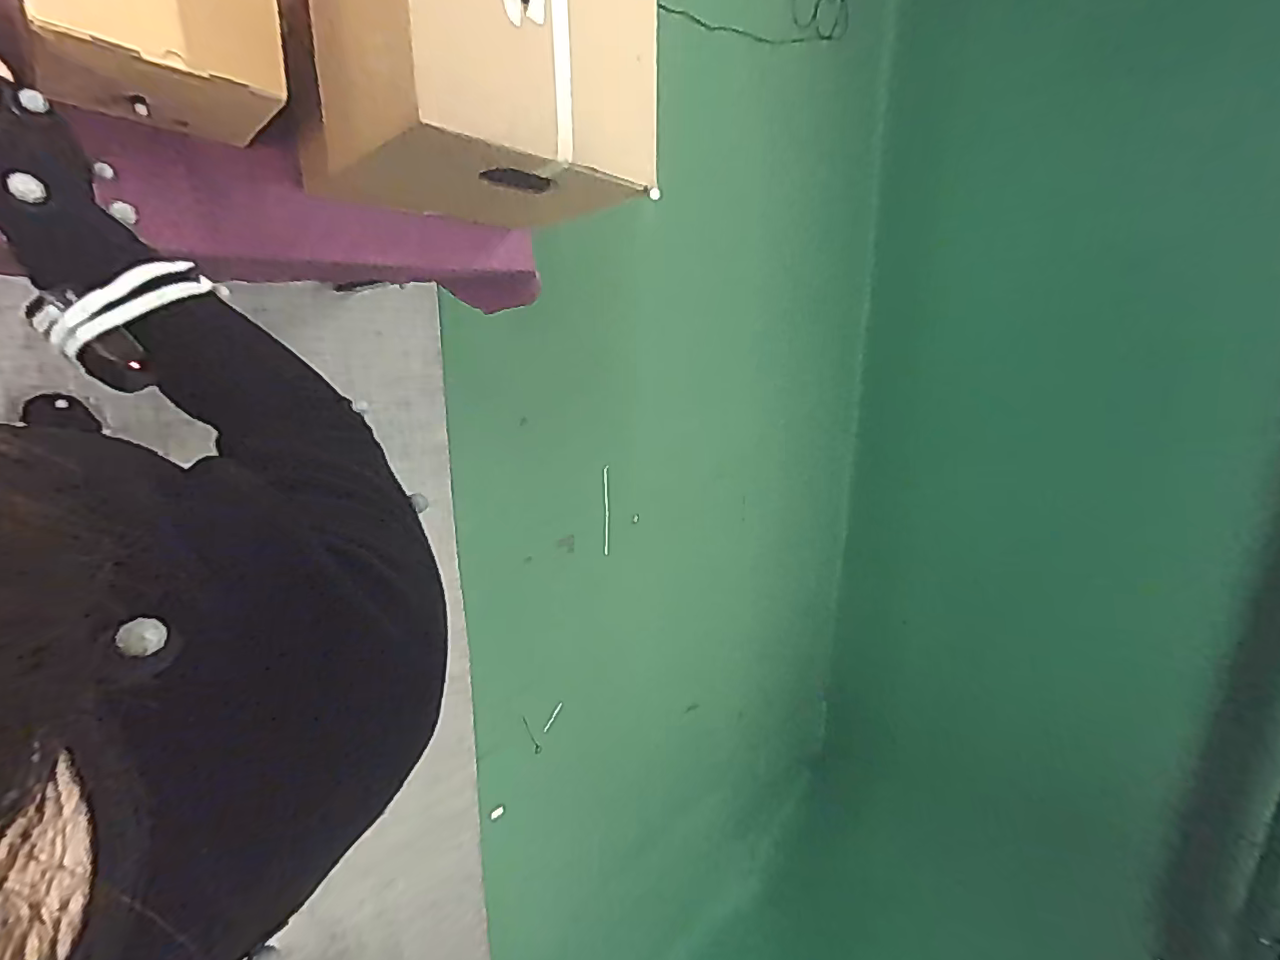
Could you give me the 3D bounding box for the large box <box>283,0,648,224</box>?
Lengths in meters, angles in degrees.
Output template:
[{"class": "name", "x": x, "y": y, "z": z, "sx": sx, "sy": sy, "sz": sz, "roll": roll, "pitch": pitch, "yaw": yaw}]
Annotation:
[{"class": "large box", "x": -0.204, "y": -0.559, "z": 0.637, "sx": 0.320, "sy": 0.320, "sz": 0.408, "roll": -15, "pitch": 111, "yaw": -46}]
